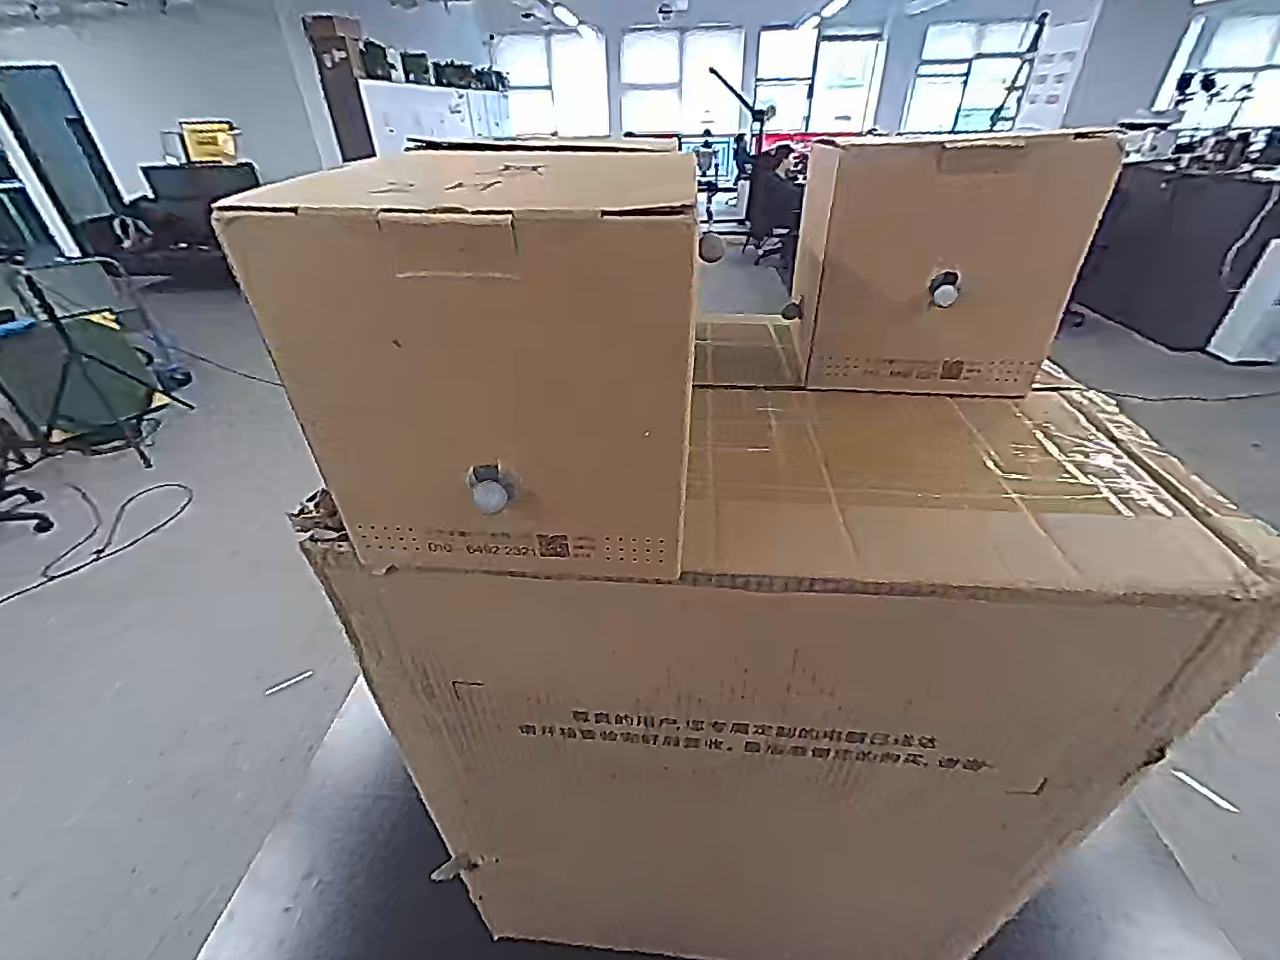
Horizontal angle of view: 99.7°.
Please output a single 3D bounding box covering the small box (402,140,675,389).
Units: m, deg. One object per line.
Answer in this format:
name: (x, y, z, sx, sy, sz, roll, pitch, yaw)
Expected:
small box: (-0.063, -0.184, 0.454, 0.179, 0.176, 0.168, 3, 34, 4)
